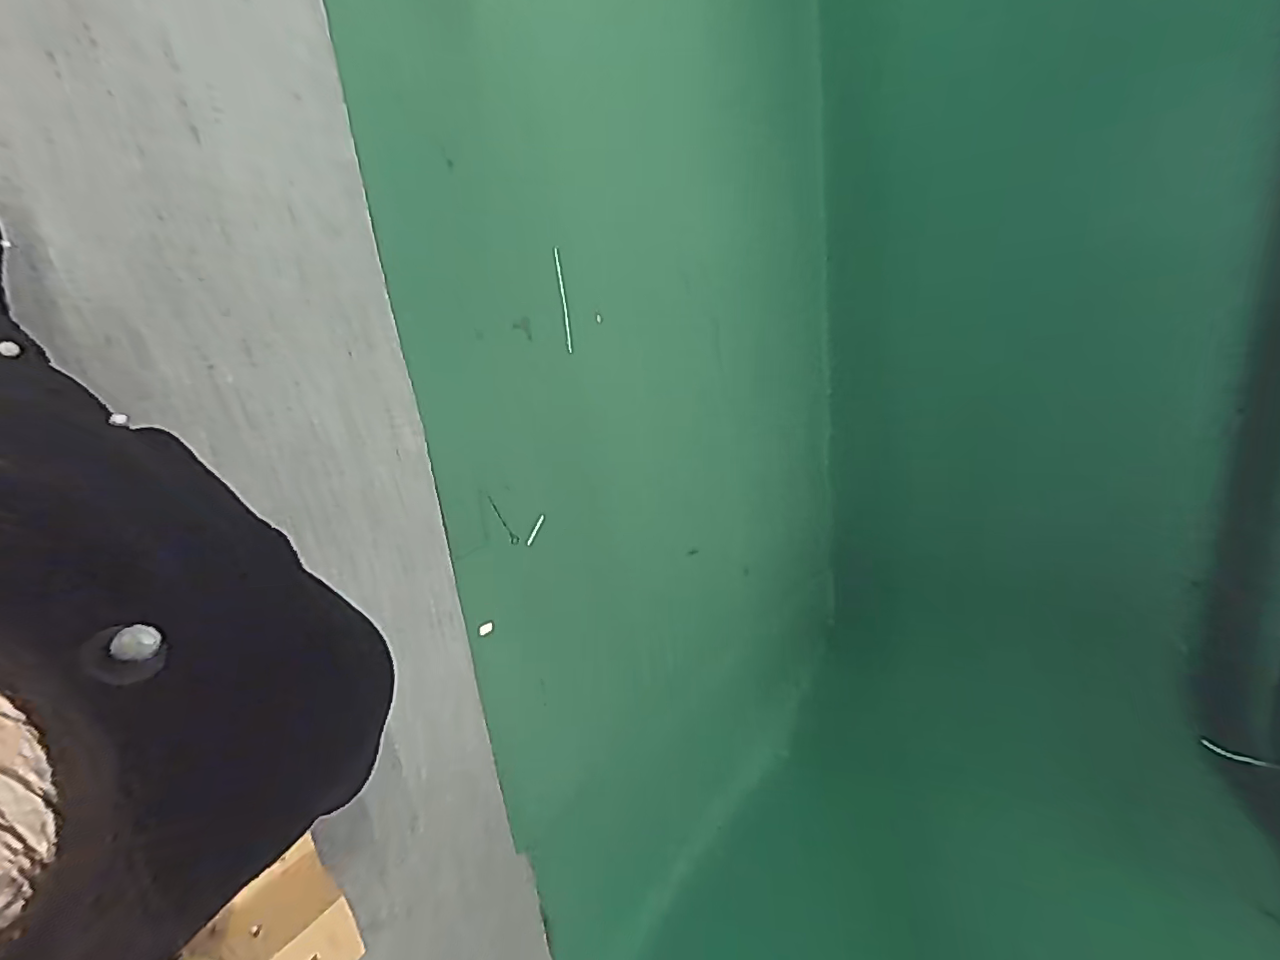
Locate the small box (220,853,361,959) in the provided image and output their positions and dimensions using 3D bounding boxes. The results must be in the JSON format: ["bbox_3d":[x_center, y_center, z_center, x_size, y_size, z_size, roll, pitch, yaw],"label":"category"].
[{"bbox_3d":[-0.694,0.902,1.069,0.179,0.176,0.168,-26,117,-47],"label":"small box"}]
